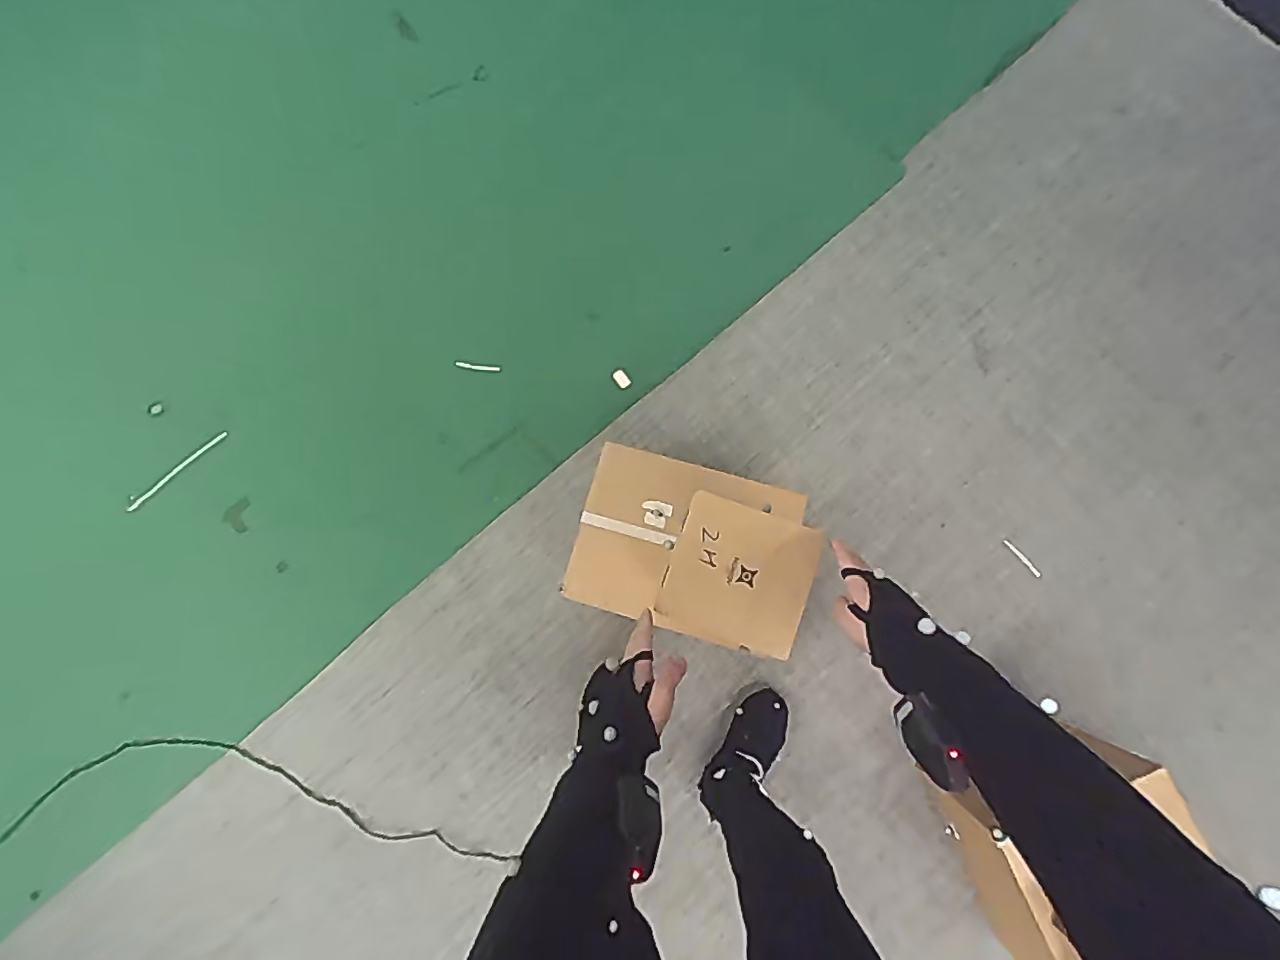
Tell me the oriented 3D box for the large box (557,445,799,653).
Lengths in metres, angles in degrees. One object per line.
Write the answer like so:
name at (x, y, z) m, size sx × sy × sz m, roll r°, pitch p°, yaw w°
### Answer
large box at (0.084, 0.143, 1.164) m, size 0.408 × 0.320 × 0.320 m, roll 15°, pitch 83°, yaw 6°

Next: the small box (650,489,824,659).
small box at (0.125, 0.123, 0.749) m, size 0.179 × 0.176 × 0.168 m, roll 20°, pitch 84°, yaw 5°

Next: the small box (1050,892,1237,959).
small box at (0.771, 0.763, 0.799) m, size 0.179 × 0.176 × 0.168 m, roll -21°, pitch 82°, yaw 2°
